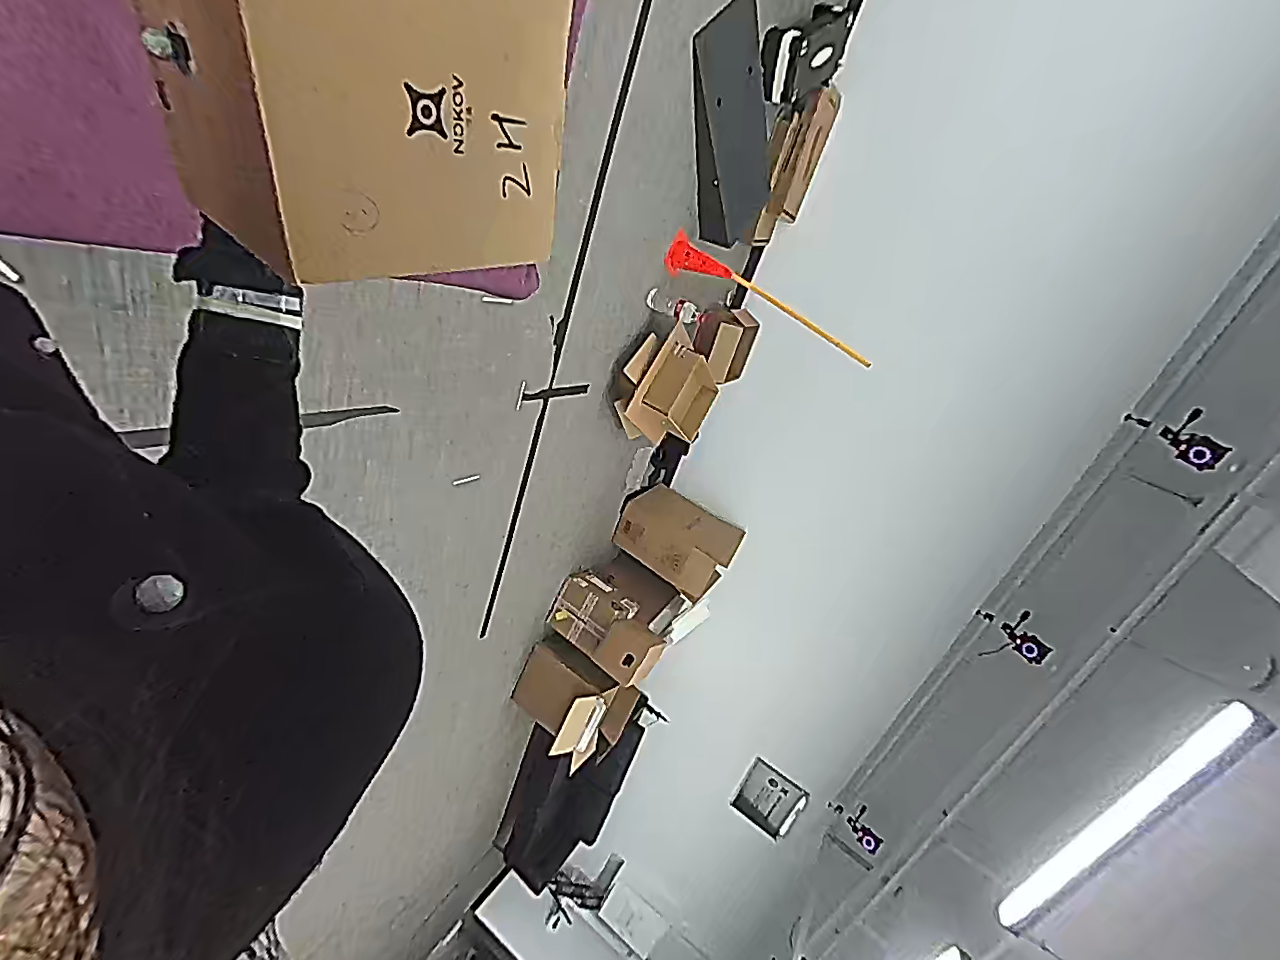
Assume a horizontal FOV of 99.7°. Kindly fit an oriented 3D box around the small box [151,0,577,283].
[{"bbox_3d":[-0.165,-0.235,0.331,0.179,0.176,0.168,-28,143,-43],"label":"small box"}]
